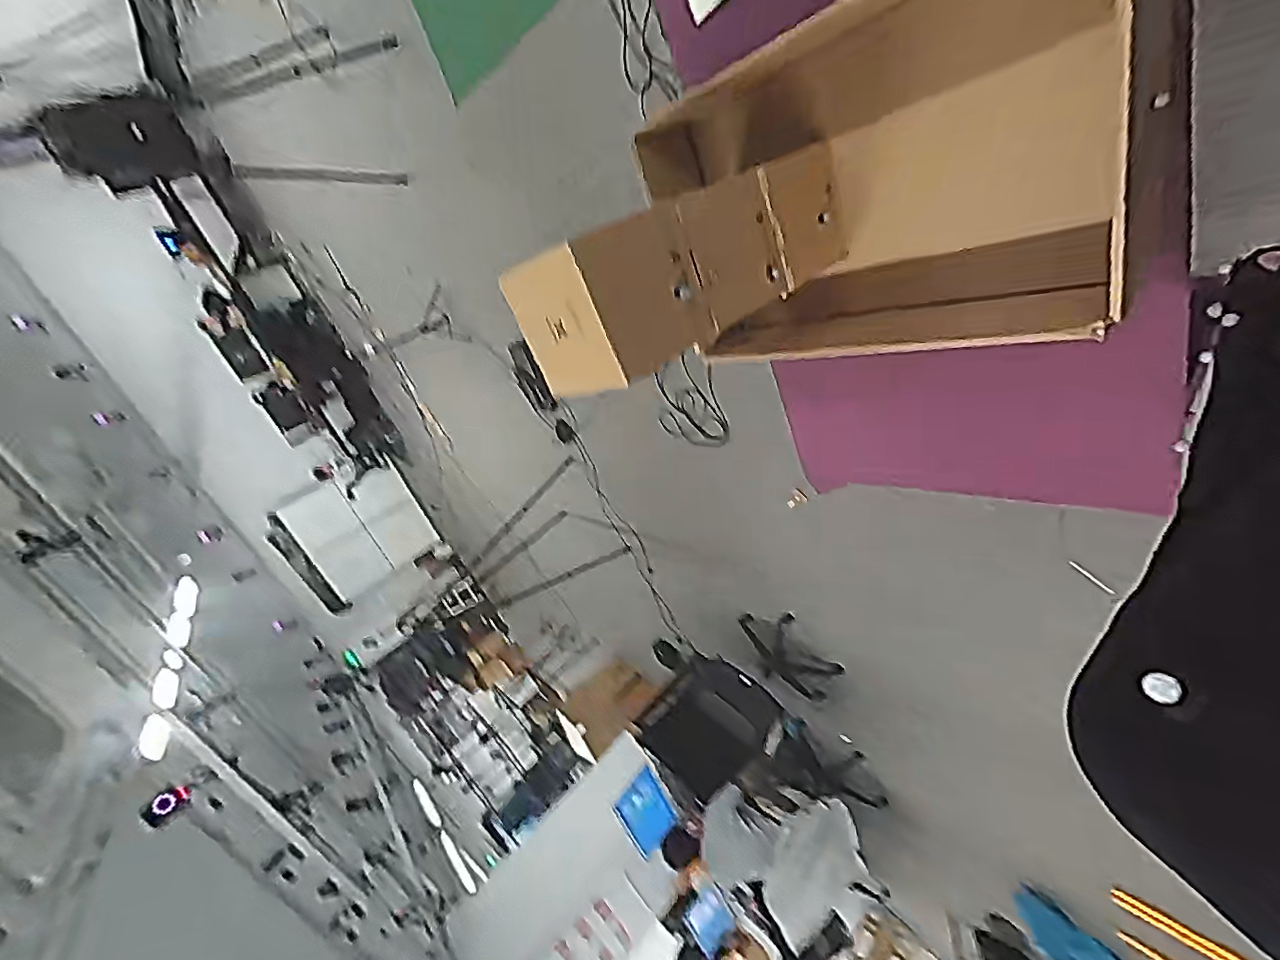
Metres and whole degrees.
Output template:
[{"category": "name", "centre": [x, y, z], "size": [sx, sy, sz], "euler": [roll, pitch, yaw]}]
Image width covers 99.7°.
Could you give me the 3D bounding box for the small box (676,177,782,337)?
[{"category": "small box", "centre": [0.081, -0.304, 0.773], "size": [0.179, 0.176, 0.168], "euler": [6, 125, 53]}]

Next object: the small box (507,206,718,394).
[{"category": "small box", "centre": [-0.033, -0.222, 0.690], "size": [0.179, 0.176, 0.168], "euler": [5, 125, 51]}]

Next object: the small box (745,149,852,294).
[{"category": "small box", "centre": [0.200, -0.389, 0.849], "size": [0.179, 0.176, 0.168], "euler": [6, 125, 51]}]
